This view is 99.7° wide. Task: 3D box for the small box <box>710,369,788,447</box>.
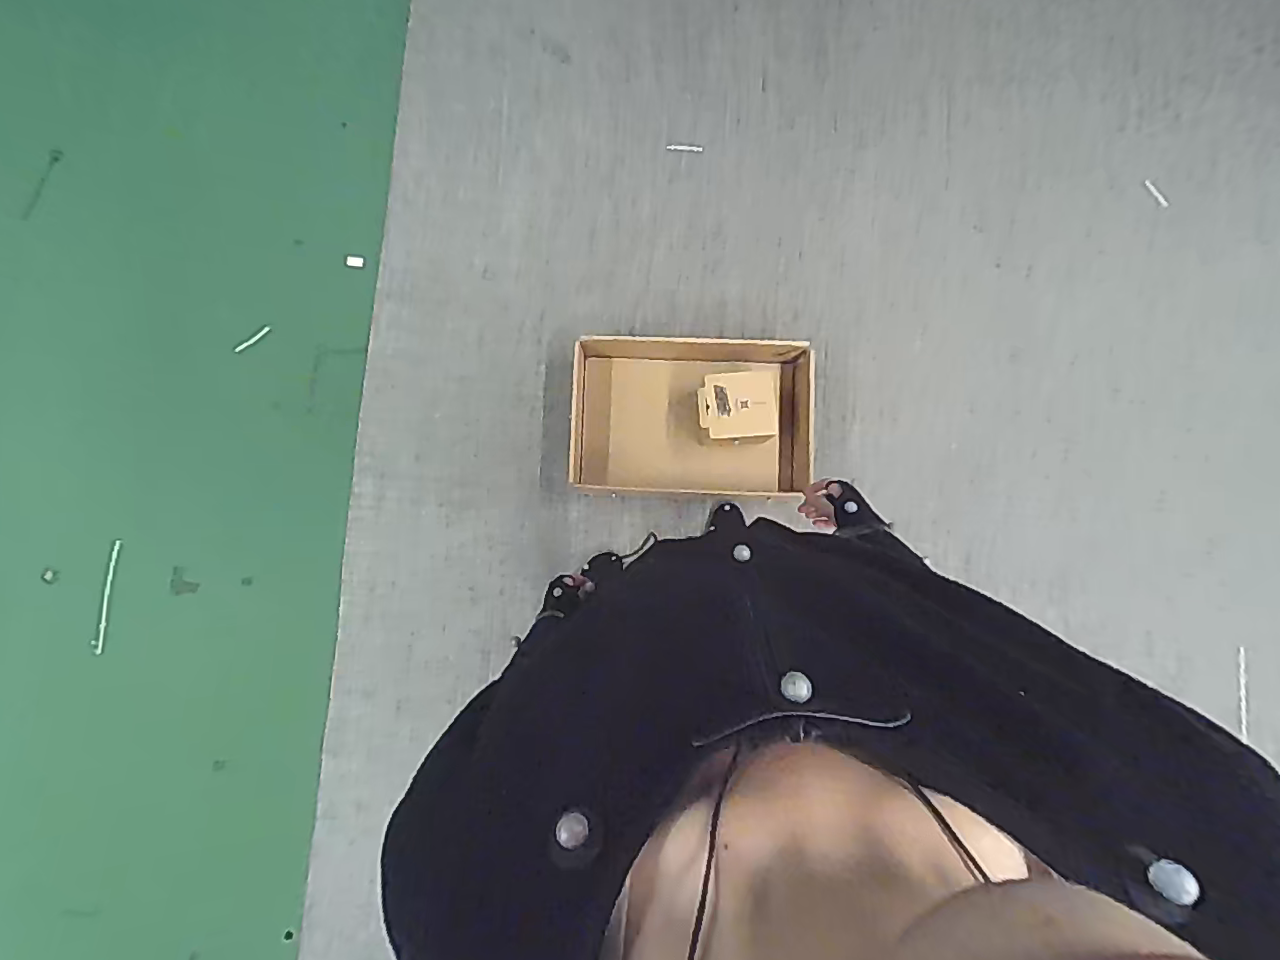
[{"bbox_3d":[0.277,-0.183,1.419,0.179,0.176,0.168,-4,86,1],"label":"small box"}]
